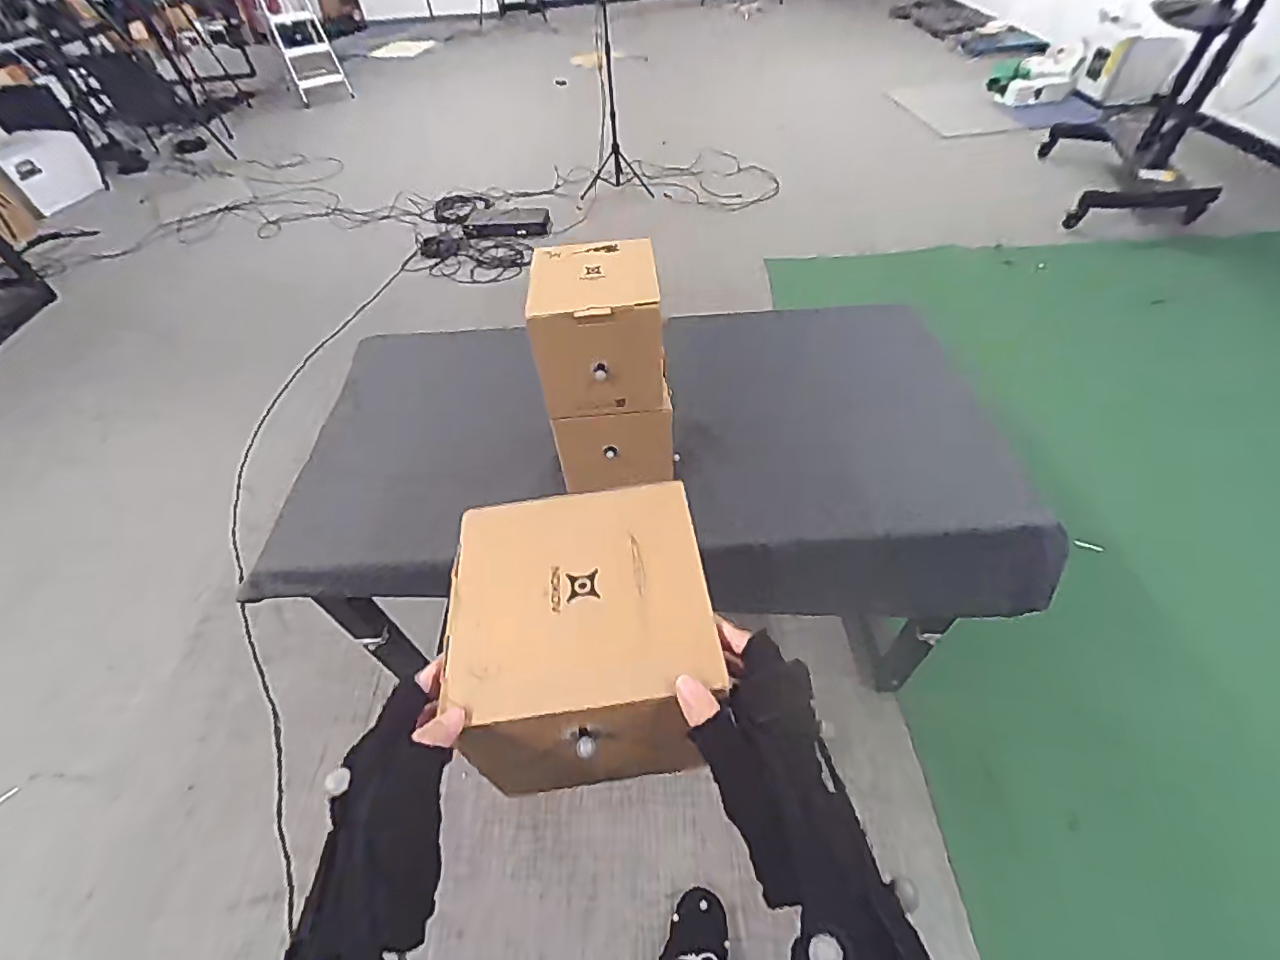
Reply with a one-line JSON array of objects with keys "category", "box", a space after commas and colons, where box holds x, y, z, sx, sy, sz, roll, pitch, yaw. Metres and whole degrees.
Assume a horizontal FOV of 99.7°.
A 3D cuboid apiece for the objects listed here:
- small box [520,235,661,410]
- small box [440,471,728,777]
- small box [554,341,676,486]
[{"category": "small box", "box": [-0.060, -0.211, 0.751, 0.168, 0.176, 0.179, -5, 50, 1]}, {"category": "small box", "box": [-0.036, 0.118, 0.428, 0.179, 0.176, 0.168, -8, 50, -3]}, {"category": "small box", "box": [-0.042, -0.101, 0.871, 0.179, 0.176, 0.168, -6, 50, -3]}]
